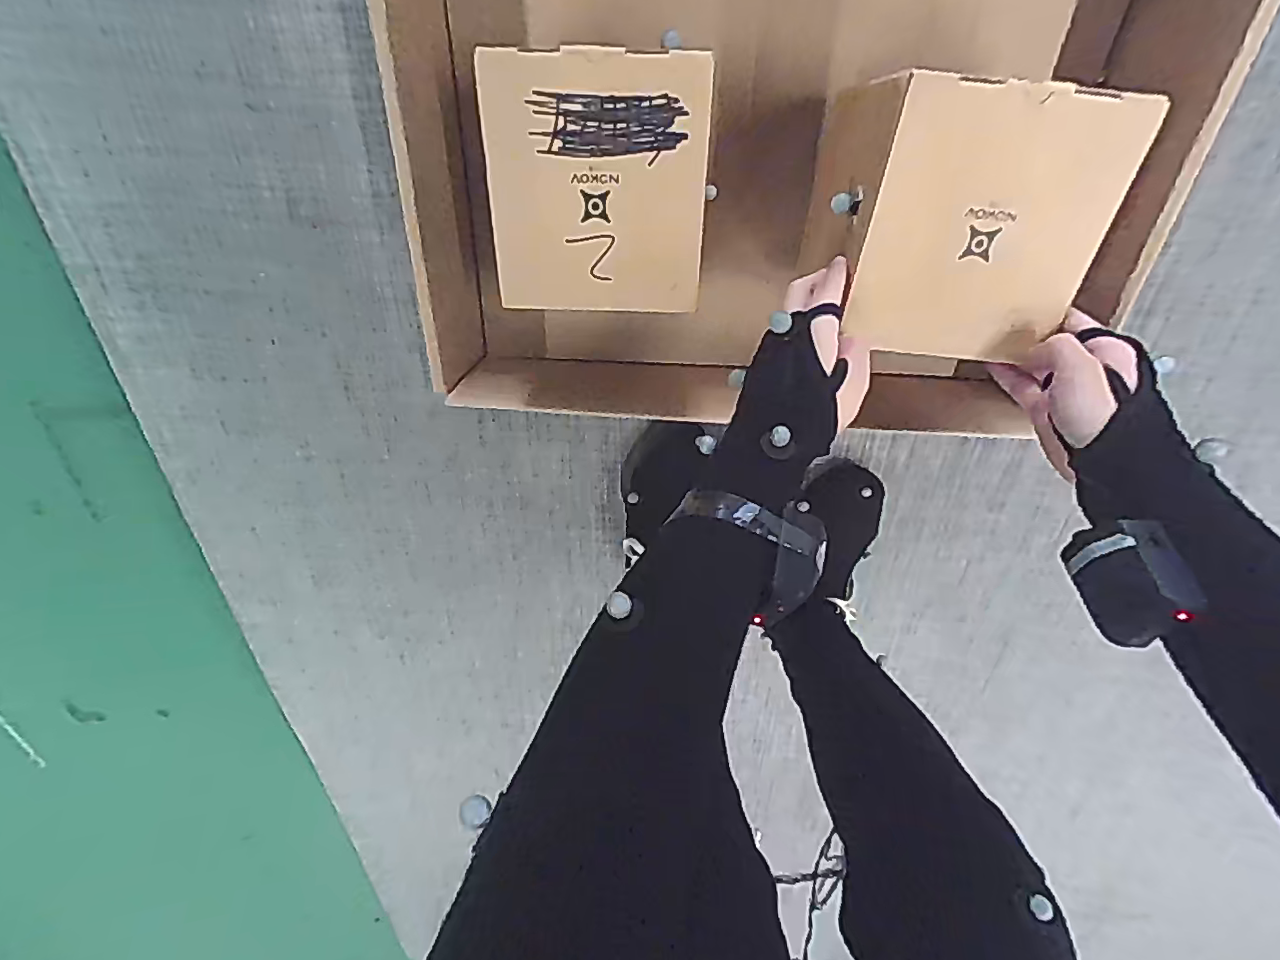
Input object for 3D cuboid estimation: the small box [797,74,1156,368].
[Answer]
[{"bbox_3d":[0.239,-0.211,0.448,0.168,0.176,0.179,6,121,-1],"label":"small box"}]
